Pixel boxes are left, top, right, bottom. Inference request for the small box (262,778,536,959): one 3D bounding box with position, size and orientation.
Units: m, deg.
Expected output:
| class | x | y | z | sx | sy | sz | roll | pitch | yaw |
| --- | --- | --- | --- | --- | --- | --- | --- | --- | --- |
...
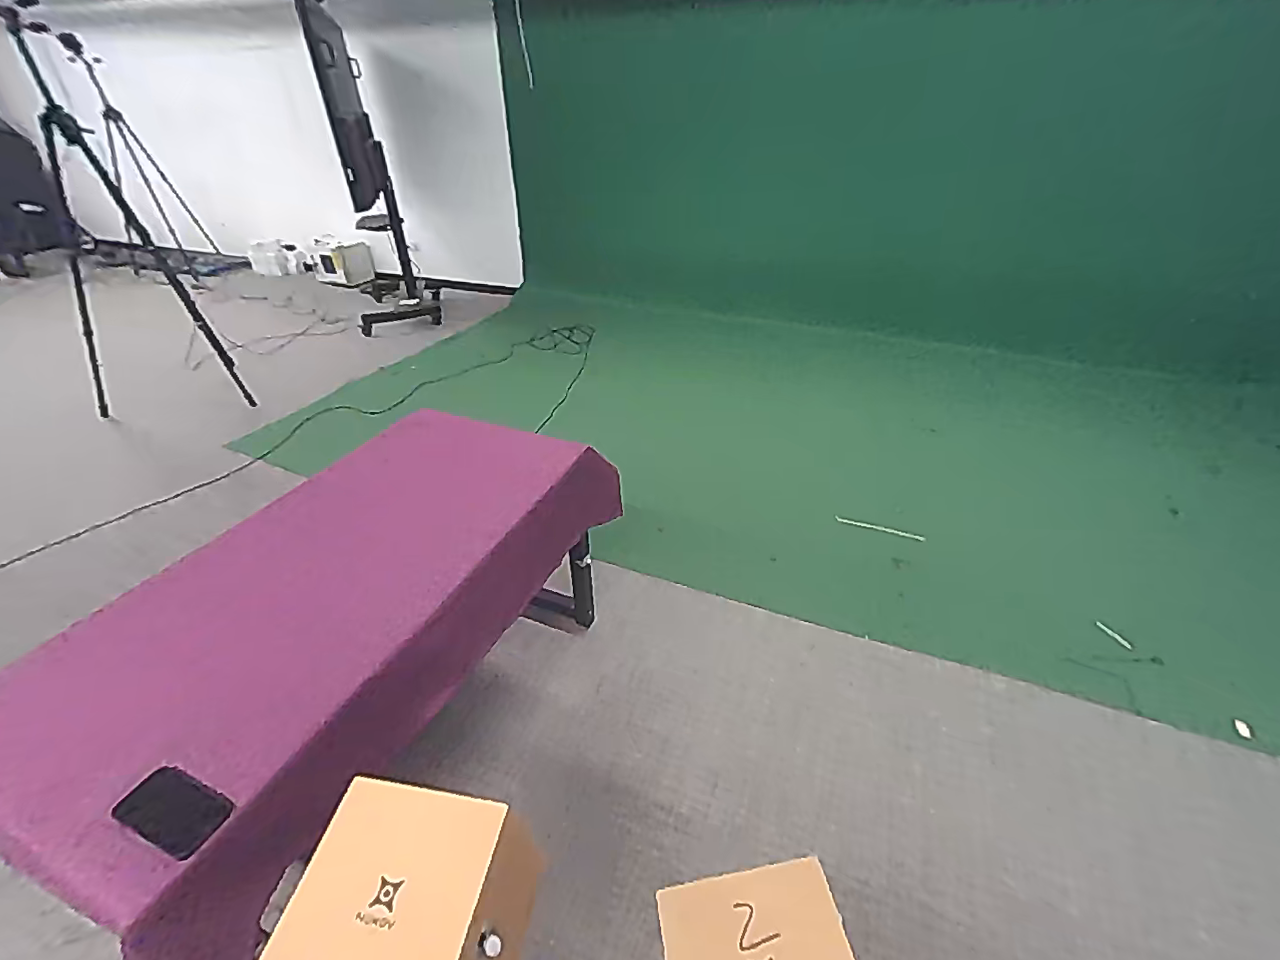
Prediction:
| class | x | y | z | sx | sy | sz | roll | pitch | yaw |
| --- | --- | --- | --- | --- | --- | --- | --- | --- | --- |
| small box | -0.210 | 0.421 | 0.518 | 0.168 | 0.176 | 0.179 | 3 | 43 | 11 |
